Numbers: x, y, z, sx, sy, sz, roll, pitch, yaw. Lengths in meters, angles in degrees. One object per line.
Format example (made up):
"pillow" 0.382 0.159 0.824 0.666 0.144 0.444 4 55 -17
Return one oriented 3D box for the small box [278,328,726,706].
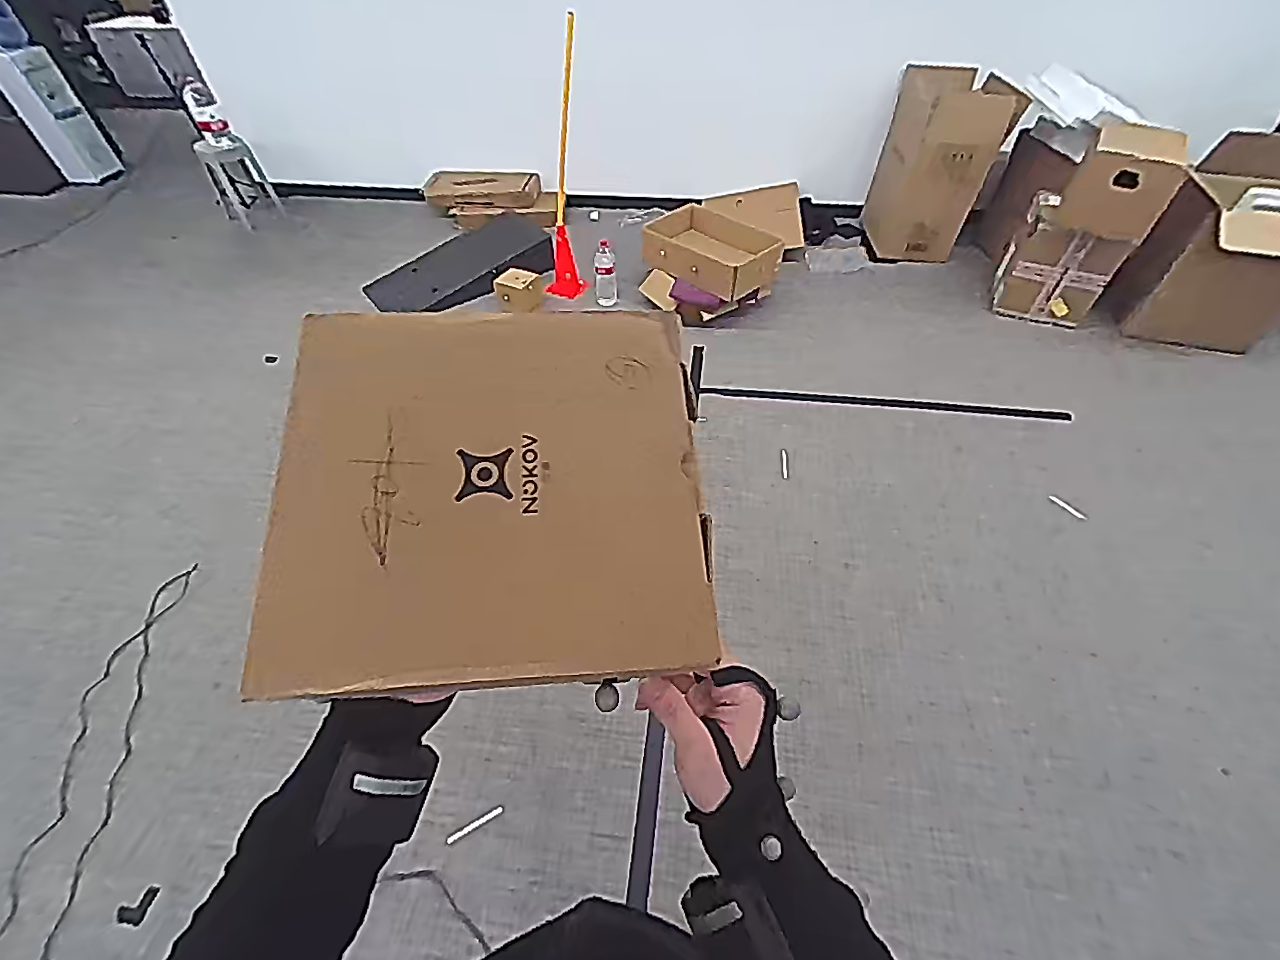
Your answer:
"small box" -0.063 0.032 0.312 0.179 0.176 0.168 -4 69 -5
